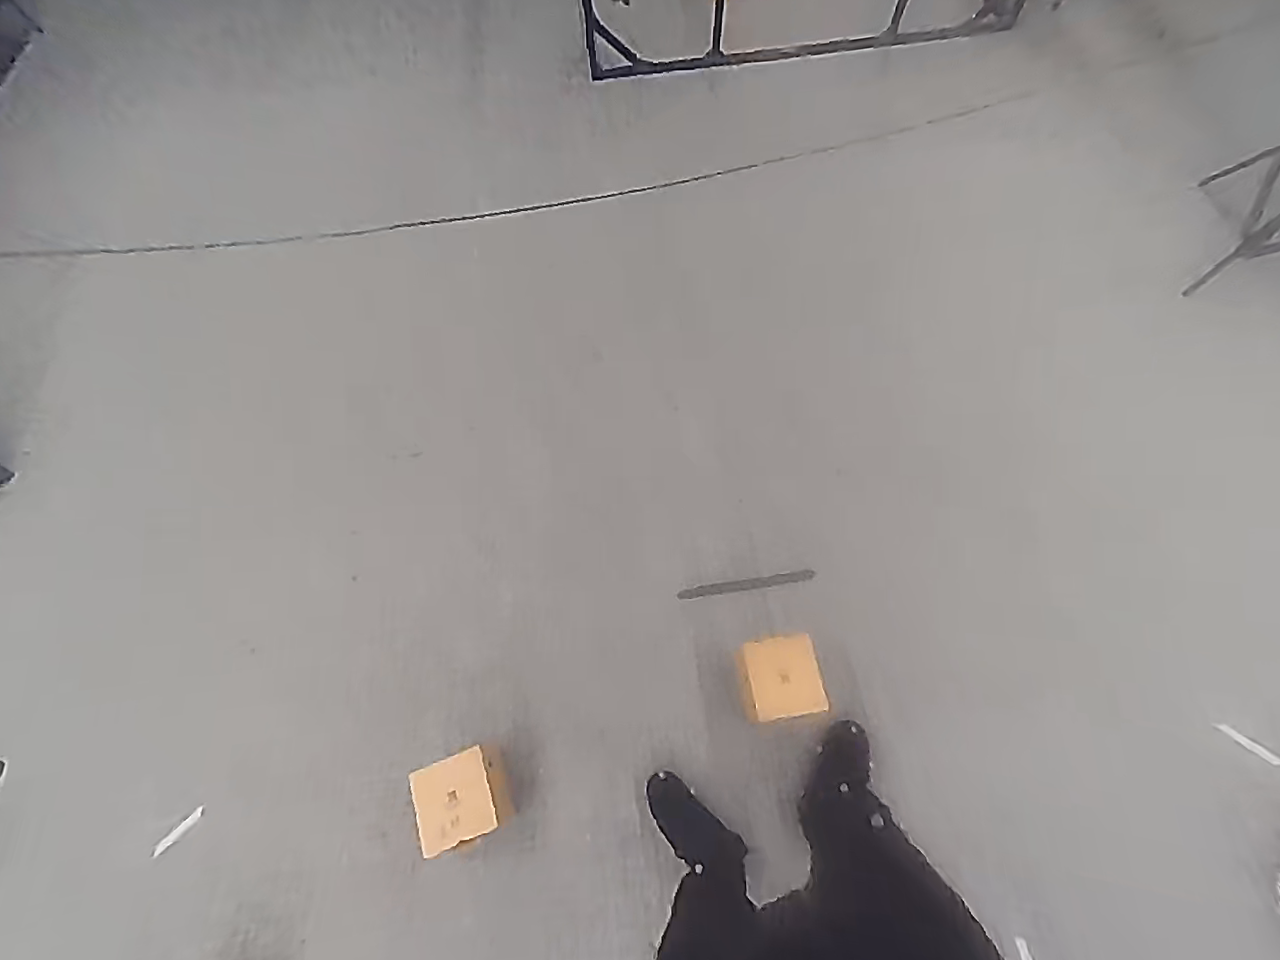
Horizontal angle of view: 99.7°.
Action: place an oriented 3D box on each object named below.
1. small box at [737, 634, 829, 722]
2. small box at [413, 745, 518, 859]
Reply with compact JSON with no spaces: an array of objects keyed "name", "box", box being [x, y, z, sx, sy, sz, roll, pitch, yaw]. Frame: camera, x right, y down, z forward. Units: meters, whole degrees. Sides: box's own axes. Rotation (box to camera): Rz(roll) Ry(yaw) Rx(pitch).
[{"name":"small box","box":[0.343,0.491,1.332,0.168,0.176,0.179,-9,64,-1]},{"name":"small box","box":[-0.400,0.736,1.254,0.168,0.176,0.179,-21,66,-7]}]
